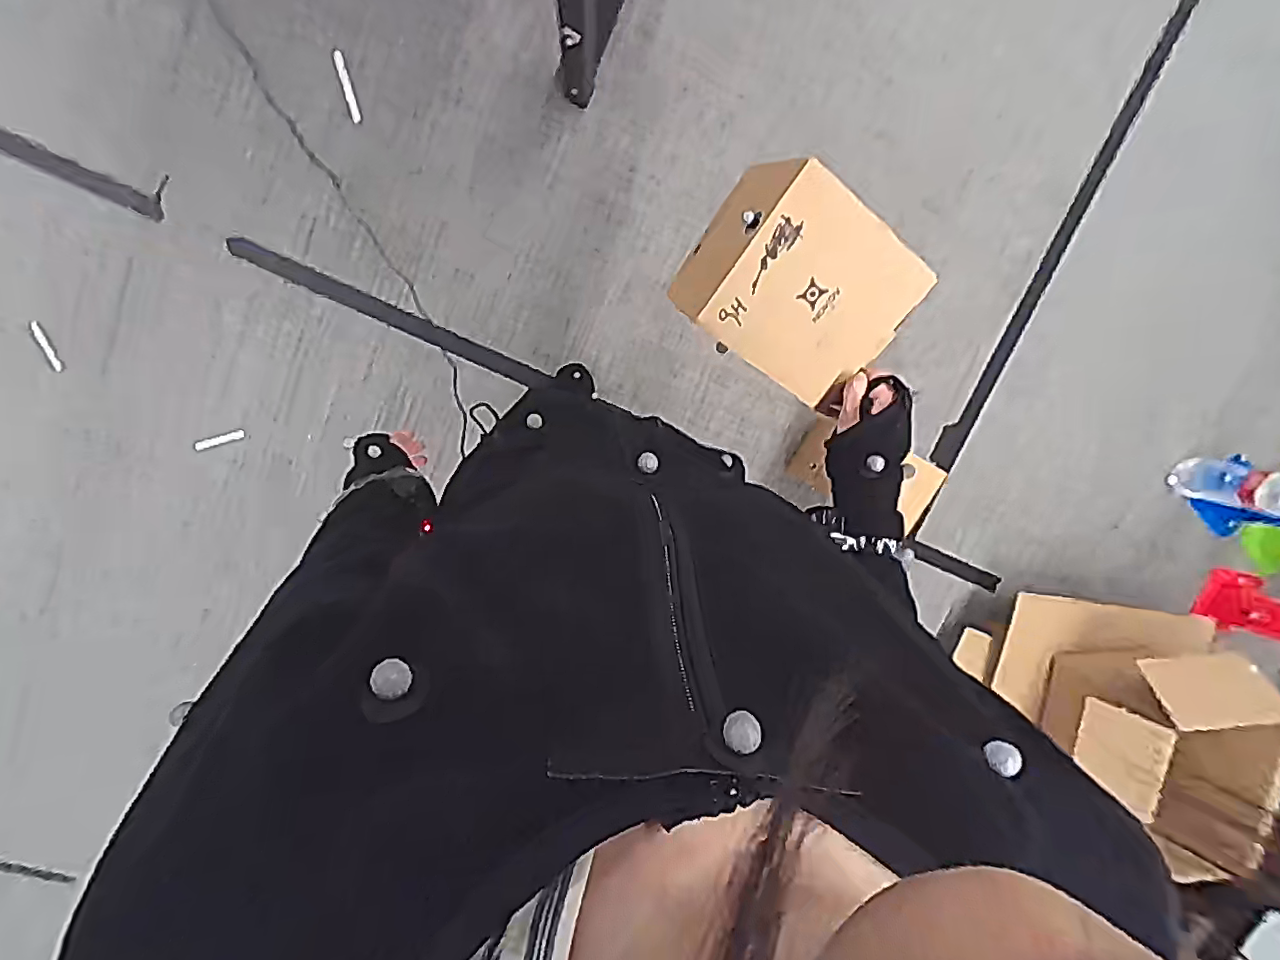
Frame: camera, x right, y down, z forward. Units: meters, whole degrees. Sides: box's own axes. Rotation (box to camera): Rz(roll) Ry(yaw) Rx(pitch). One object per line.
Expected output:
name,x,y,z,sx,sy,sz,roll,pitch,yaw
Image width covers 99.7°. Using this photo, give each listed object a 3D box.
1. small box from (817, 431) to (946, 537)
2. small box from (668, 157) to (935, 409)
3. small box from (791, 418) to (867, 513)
small box,0.540,0.001,1.236,0.179,0.176,0.168,27,101,-12
small box,0.153,-0.209,0.569,0.179,0.176,0.168,28,110,-22
small box,0.518,-0.043,1.391,0.168,0.176,0.179,28,99,-12
